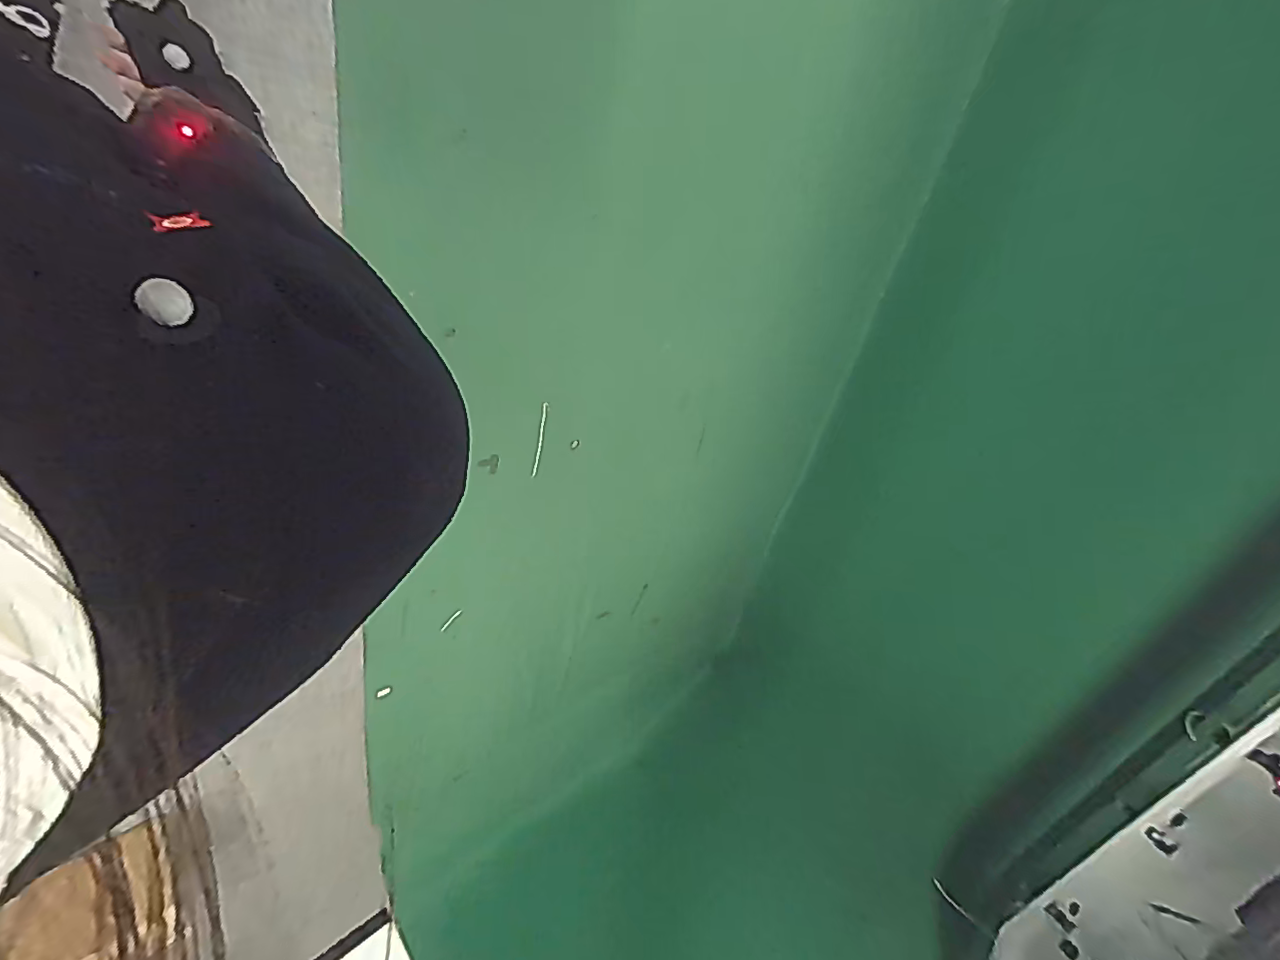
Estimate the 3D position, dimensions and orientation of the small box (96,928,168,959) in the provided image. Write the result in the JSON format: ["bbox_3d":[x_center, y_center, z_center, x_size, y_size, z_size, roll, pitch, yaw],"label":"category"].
[{"bbox_3d":[-1.422,1.409,1.489,0.179,0.176,0.168,-17,127,-41],"label":"small box"}]
